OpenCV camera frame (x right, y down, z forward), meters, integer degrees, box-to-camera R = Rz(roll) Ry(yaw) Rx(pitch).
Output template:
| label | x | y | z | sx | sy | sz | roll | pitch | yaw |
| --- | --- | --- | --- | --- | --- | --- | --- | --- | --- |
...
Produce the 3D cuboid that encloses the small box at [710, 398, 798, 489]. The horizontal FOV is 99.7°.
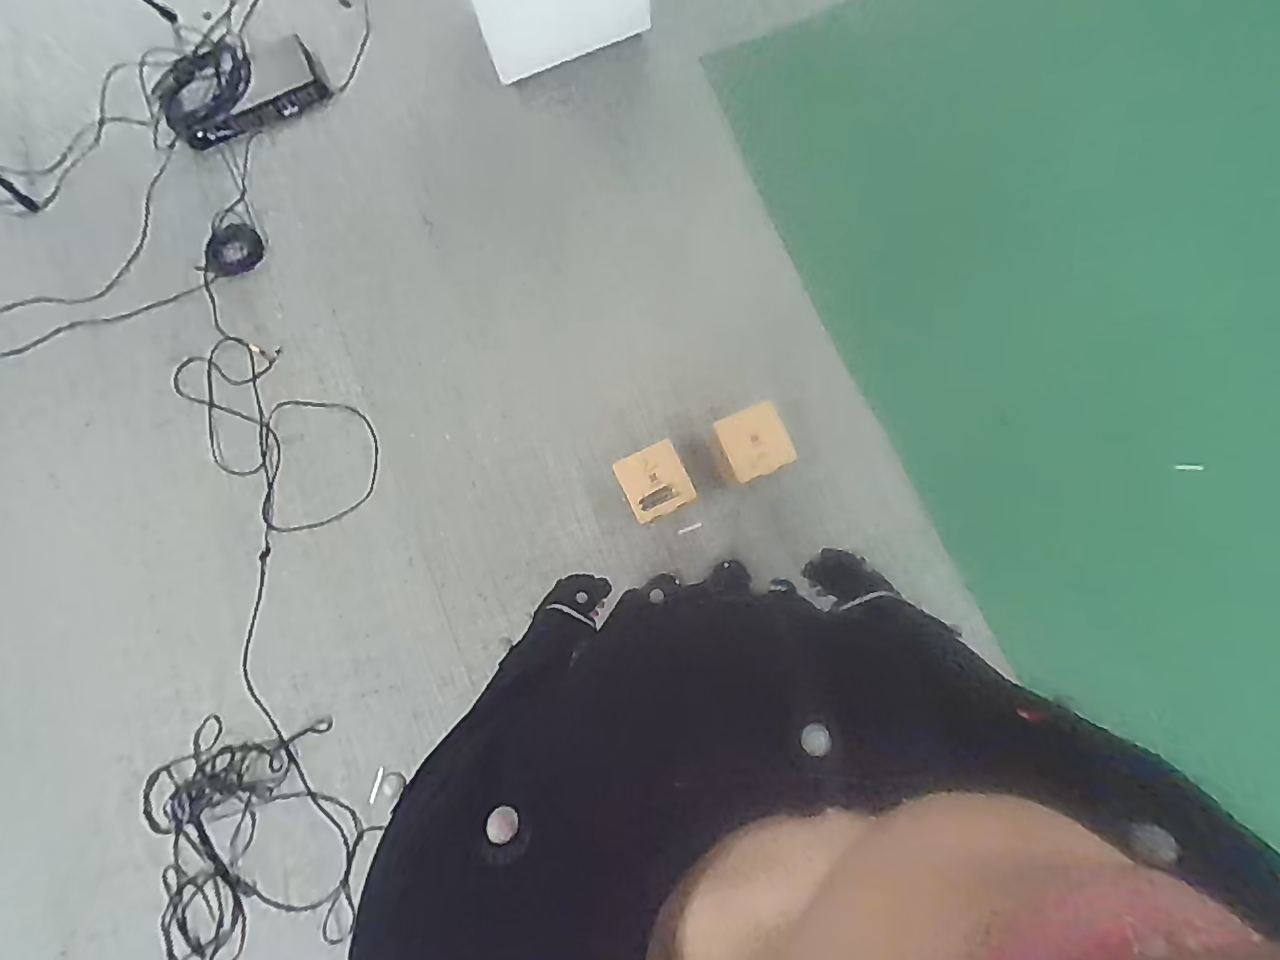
| label | x | y | z | sx | sy | sz | roll | pitch | yaw |
| --- | --- | --- | --- | --- | --- | --- | --- | --- | --- |
| small box | 0.299 | -0.093 | 1.461 | 0.168 | 0.176 | 0.179 | -23 | 81 | 0 |
